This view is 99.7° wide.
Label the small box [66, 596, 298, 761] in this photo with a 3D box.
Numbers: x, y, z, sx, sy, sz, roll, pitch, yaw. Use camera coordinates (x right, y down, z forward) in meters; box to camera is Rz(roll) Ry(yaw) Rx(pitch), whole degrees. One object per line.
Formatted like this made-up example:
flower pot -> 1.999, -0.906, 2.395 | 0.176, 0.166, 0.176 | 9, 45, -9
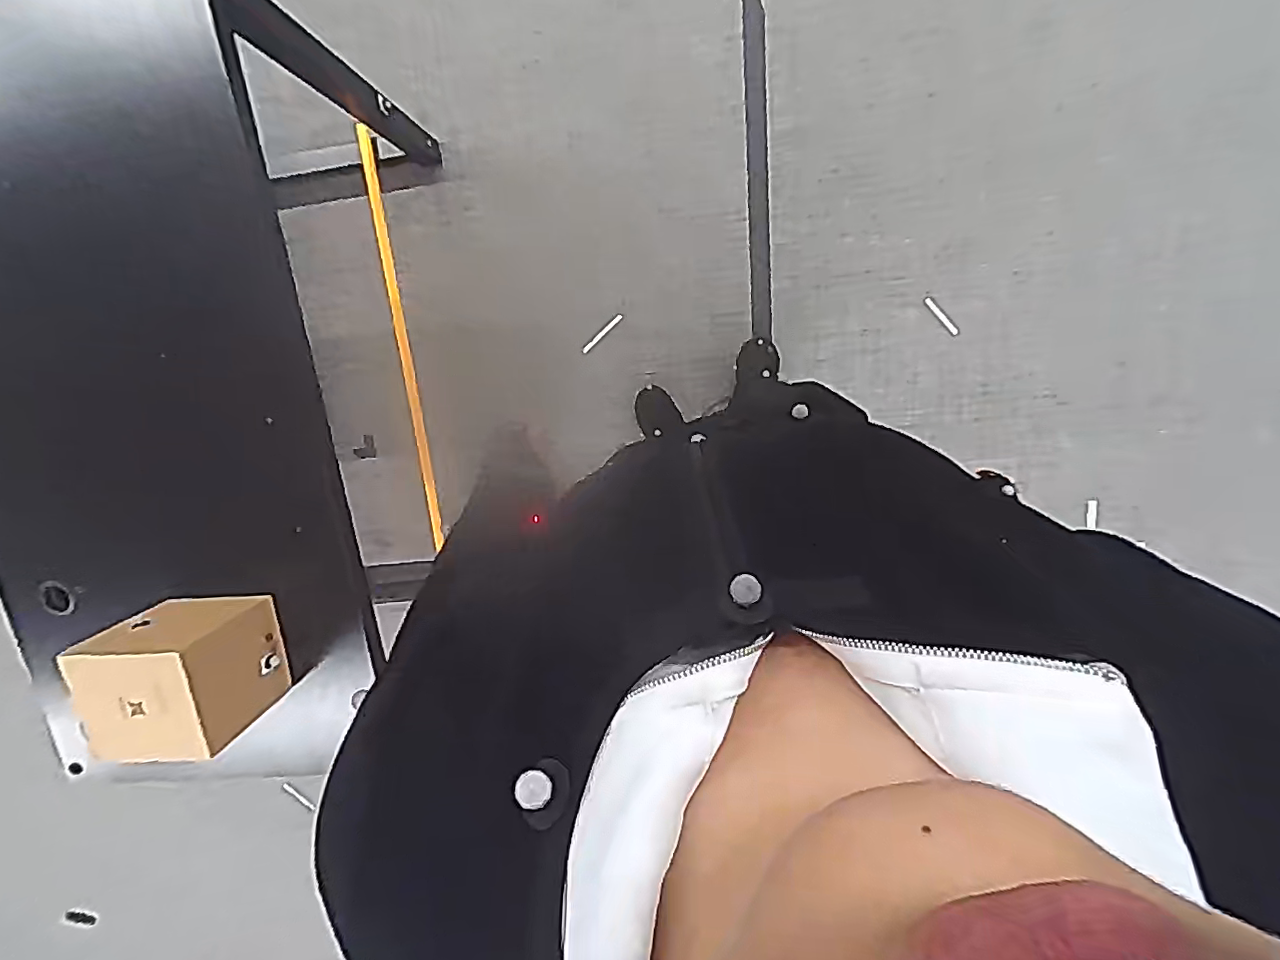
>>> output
small box -> -0.652, 0.282, 0.793 | 0.179, 0.176, 0.168 | -4, 104, 4
